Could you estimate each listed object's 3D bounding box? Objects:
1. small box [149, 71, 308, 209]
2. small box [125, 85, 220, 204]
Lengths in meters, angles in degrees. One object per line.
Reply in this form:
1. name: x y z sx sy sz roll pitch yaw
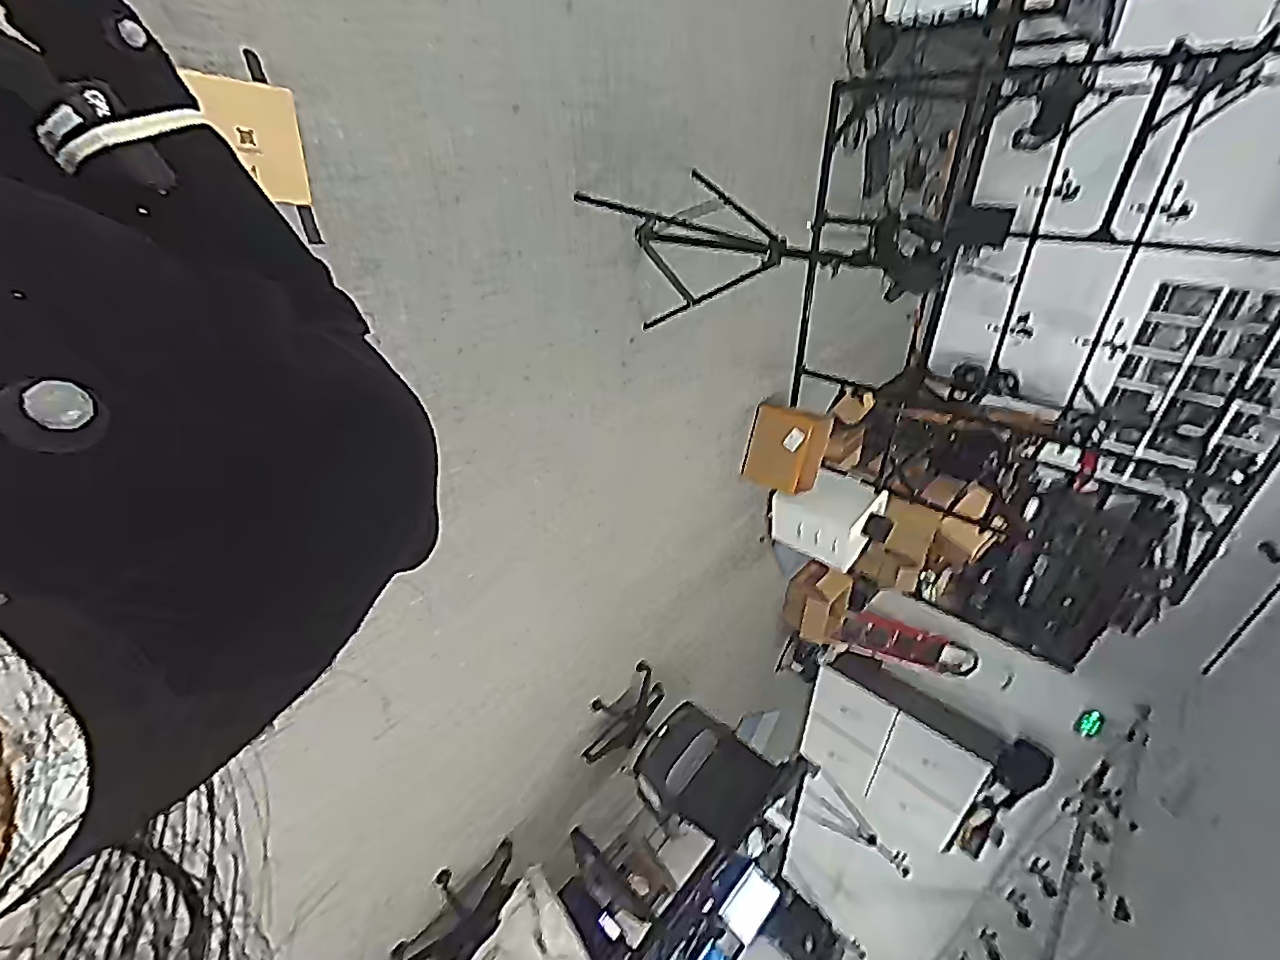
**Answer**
1. small box: -0.708 -0.574 0.934 0.168 0.176 0.179 -22 126 -42
2. small box: -0.833 -0.626 1.027 0.168 0.176 0.179 -25 128 -41
